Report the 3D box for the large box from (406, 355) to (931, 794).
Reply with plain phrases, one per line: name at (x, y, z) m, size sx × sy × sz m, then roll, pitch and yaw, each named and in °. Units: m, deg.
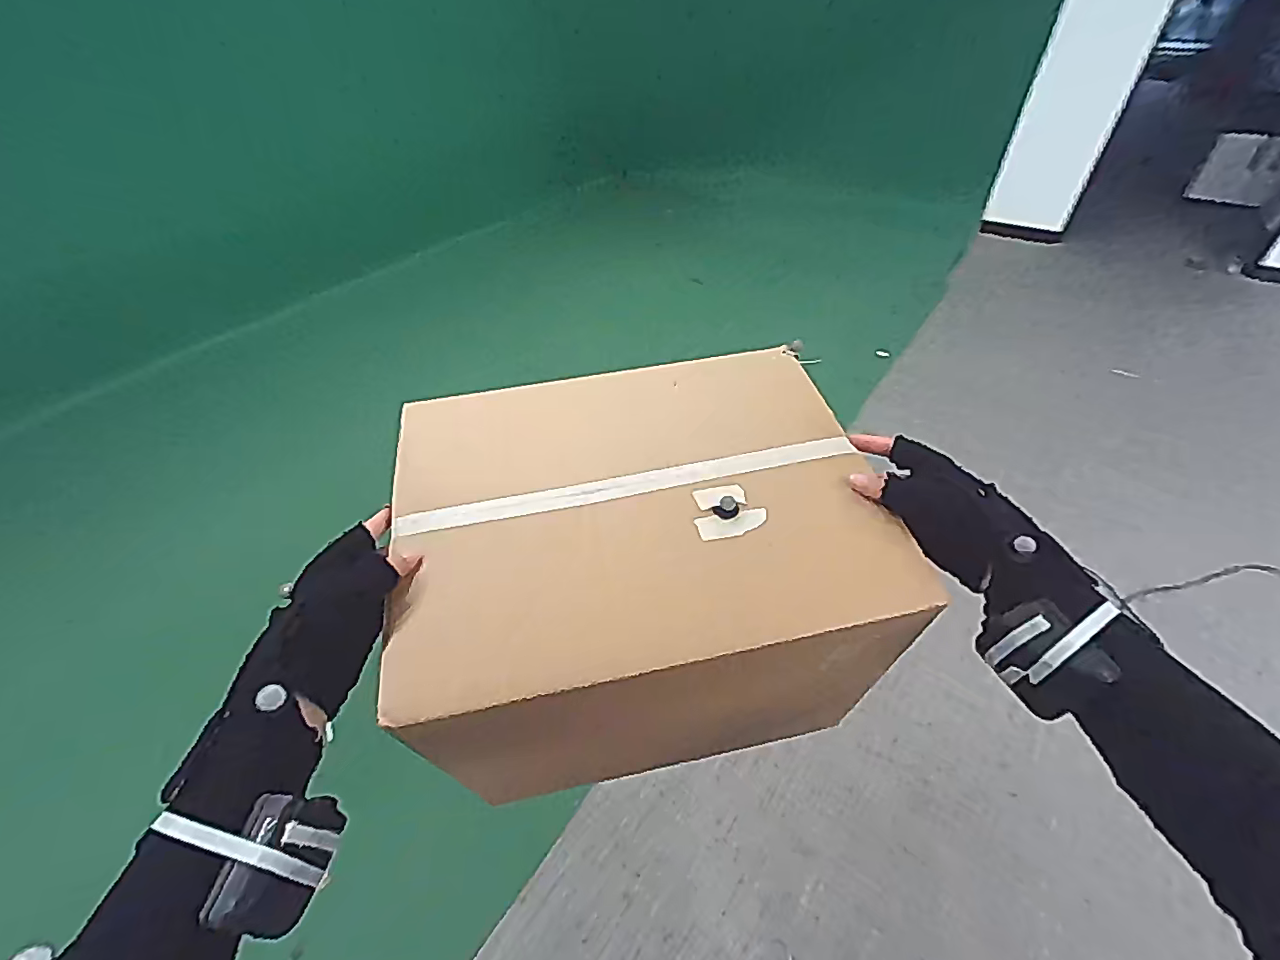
large box at (0.002, 0.103, 0.595) m, size 0.408 × 0.320 × 0.320 m, roll -9°, pitch 51°, yaw -7°
